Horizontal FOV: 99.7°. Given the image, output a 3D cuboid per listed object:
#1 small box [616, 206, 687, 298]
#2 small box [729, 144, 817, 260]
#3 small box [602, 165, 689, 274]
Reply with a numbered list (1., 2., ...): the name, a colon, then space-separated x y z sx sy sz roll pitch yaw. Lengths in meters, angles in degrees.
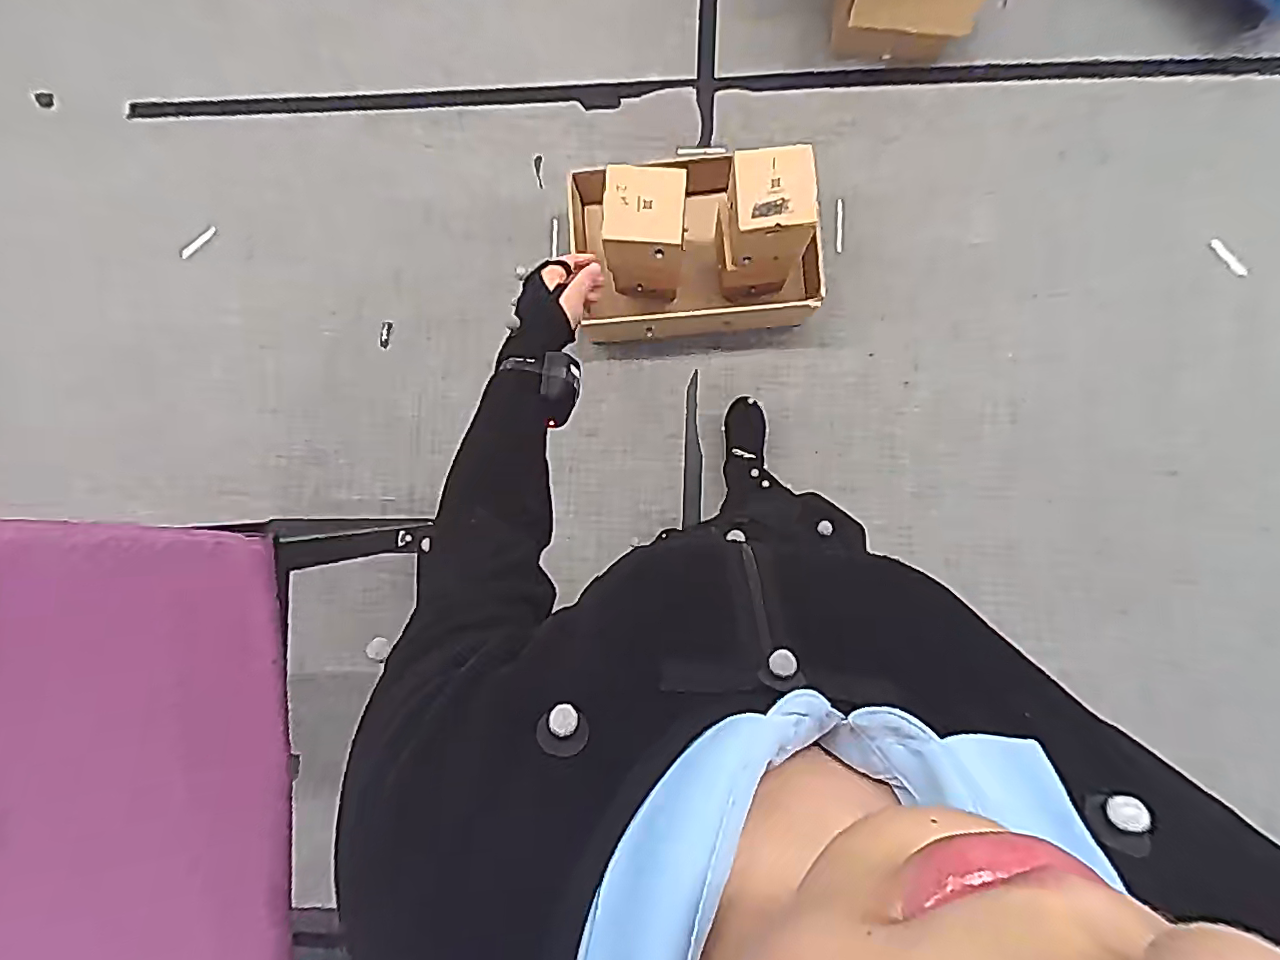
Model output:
1. small box: 0.026 -0.595 1.398 0.168 0.176 0.179 7 88 3
2. small box: 0.292 -0.610 1.213 0.168 0.176 0.179 -3 86 4
3. small box: 0.014 -0.584 1.233 0.179 0.176 0.168 5 88 3
